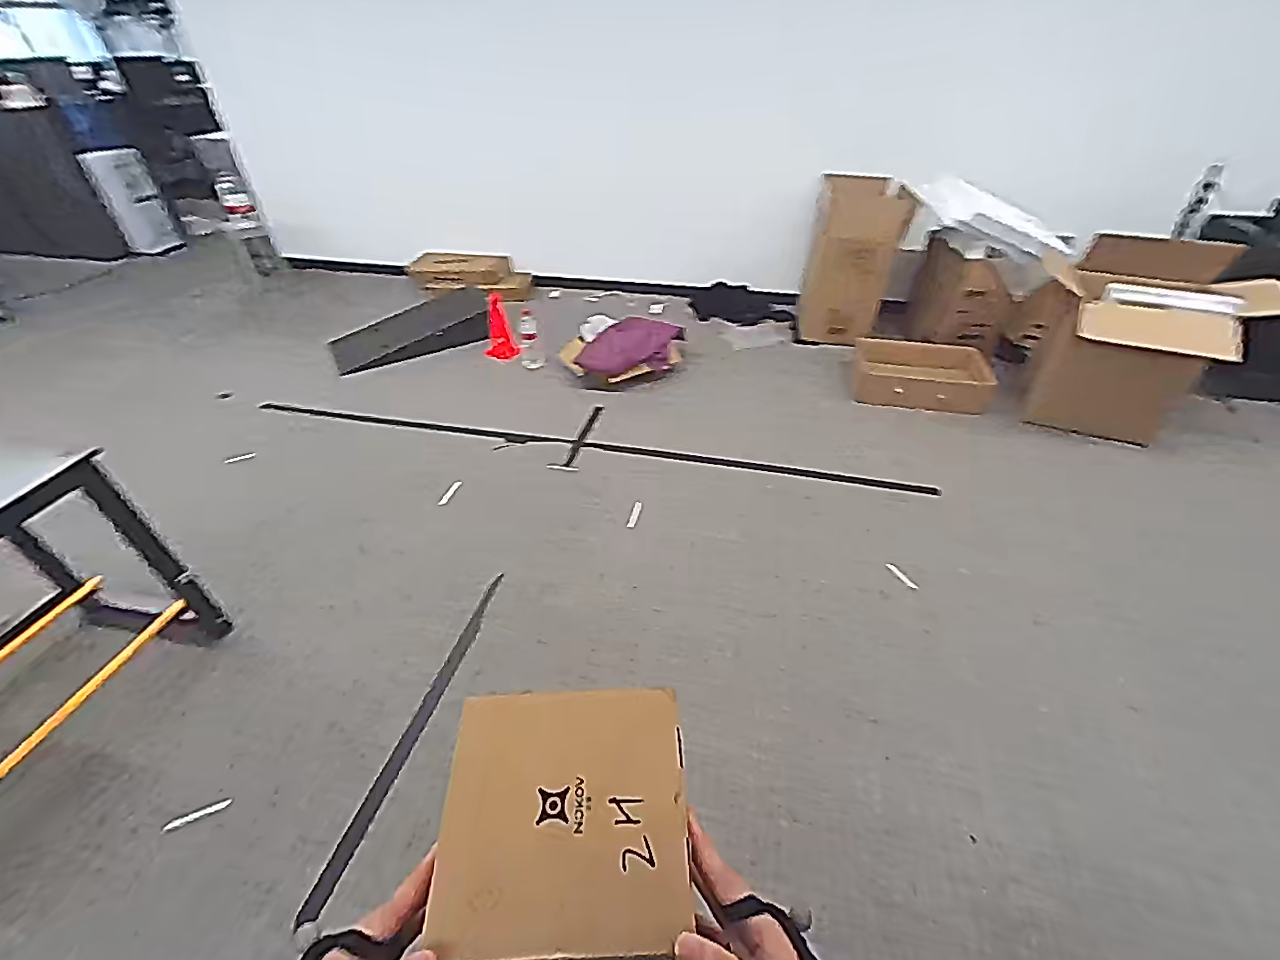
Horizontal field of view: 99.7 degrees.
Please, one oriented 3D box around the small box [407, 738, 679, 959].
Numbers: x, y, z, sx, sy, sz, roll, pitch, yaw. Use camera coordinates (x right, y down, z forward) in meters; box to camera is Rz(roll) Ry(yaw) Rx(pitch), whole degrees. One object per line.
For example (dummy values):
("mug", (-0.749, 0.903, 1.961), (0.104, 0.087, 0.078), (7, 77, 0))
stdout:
("small box", (-0.062, 0.322, 0.433), (0.179, 0.176, 0.168), (-2, 48, -1))
